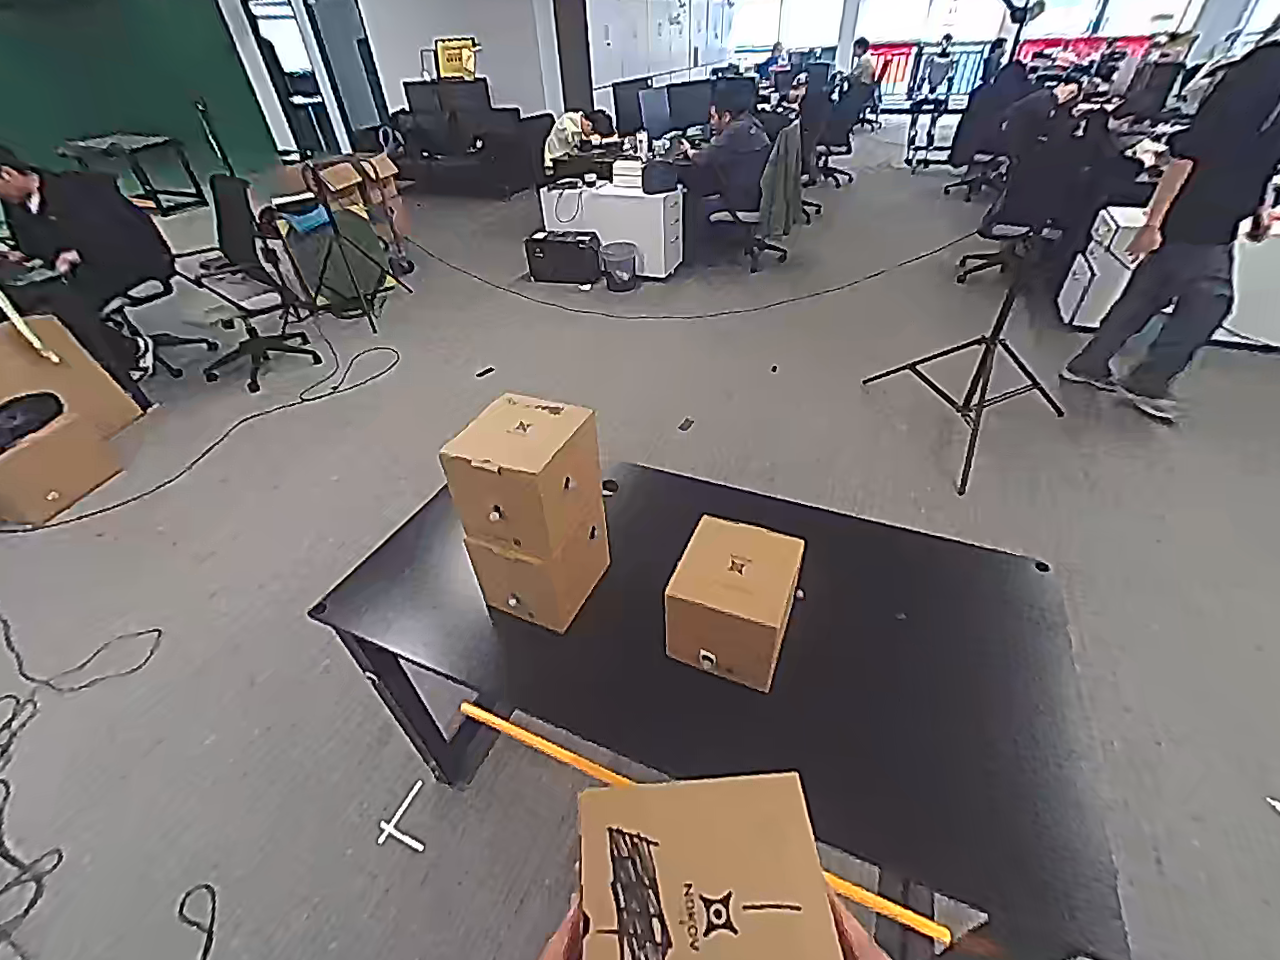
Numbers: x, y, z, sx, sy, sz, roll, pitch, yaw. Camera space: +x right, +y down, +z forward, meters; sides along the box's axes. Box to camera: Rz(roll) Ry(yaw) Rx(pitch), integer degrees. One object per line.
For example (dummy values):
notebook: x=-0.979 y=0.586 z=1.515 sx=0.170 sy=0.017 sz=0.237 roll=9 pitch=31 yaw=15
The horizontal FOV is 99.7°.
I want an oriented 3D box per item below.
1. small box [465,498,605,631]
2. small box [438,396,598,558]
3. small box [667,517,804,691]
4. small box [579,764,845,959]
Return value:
small box: x=-0.170 y=0.126 z=0.941 sx=0.168 sy=0.176 sz=0.179 roll=15 pitch=43 yaw=21
small box: x=-0.175 y=-0.006 z=0.844 sx=0.168 sy=0.176 sz=0.179 roll=13 pitch=43 yaw=18
small box: x=0.148 y=0.191 z=0.847 sx=0.168 sy=0.176 sz=0.179 roll=13 pitch=43 yaw=20
small box: x=0.045 y=0.346 z=0.433 sx=0.179 sy=0.176 sz=0.168 roll=-2 pitch=47 yaw=-4
